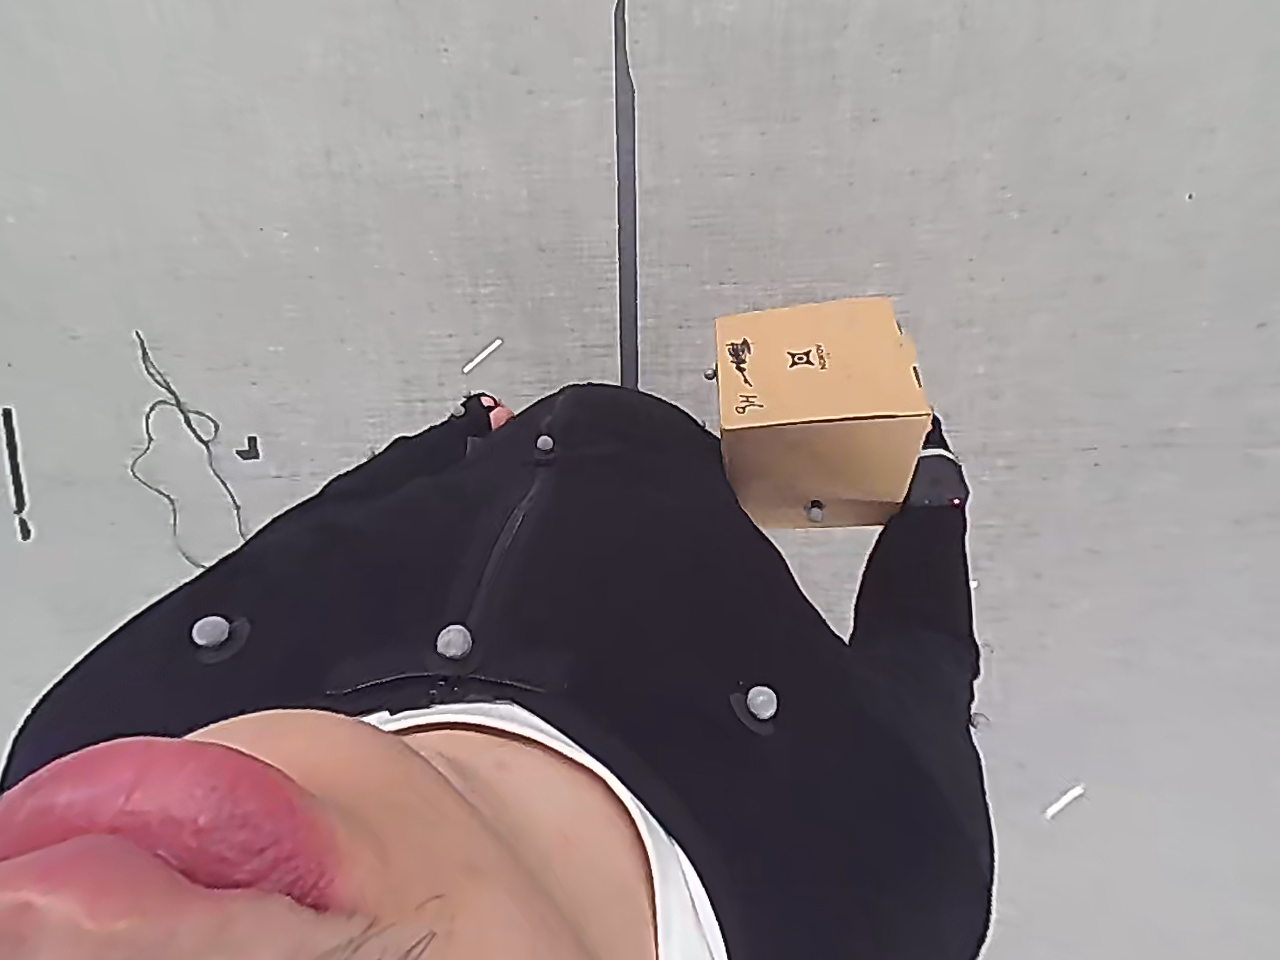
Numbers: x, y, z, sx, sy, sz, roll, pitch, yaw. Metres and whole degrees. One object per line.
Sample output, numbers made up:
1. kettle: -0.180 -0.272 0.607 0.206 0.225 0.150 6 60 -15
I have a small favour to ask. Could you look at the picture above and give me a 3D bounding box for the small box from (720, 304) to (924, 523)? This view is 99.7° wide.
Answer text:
1. small box: 0.179 -0.065 0.590 0.179 0.168 0.176 -3 141 10
